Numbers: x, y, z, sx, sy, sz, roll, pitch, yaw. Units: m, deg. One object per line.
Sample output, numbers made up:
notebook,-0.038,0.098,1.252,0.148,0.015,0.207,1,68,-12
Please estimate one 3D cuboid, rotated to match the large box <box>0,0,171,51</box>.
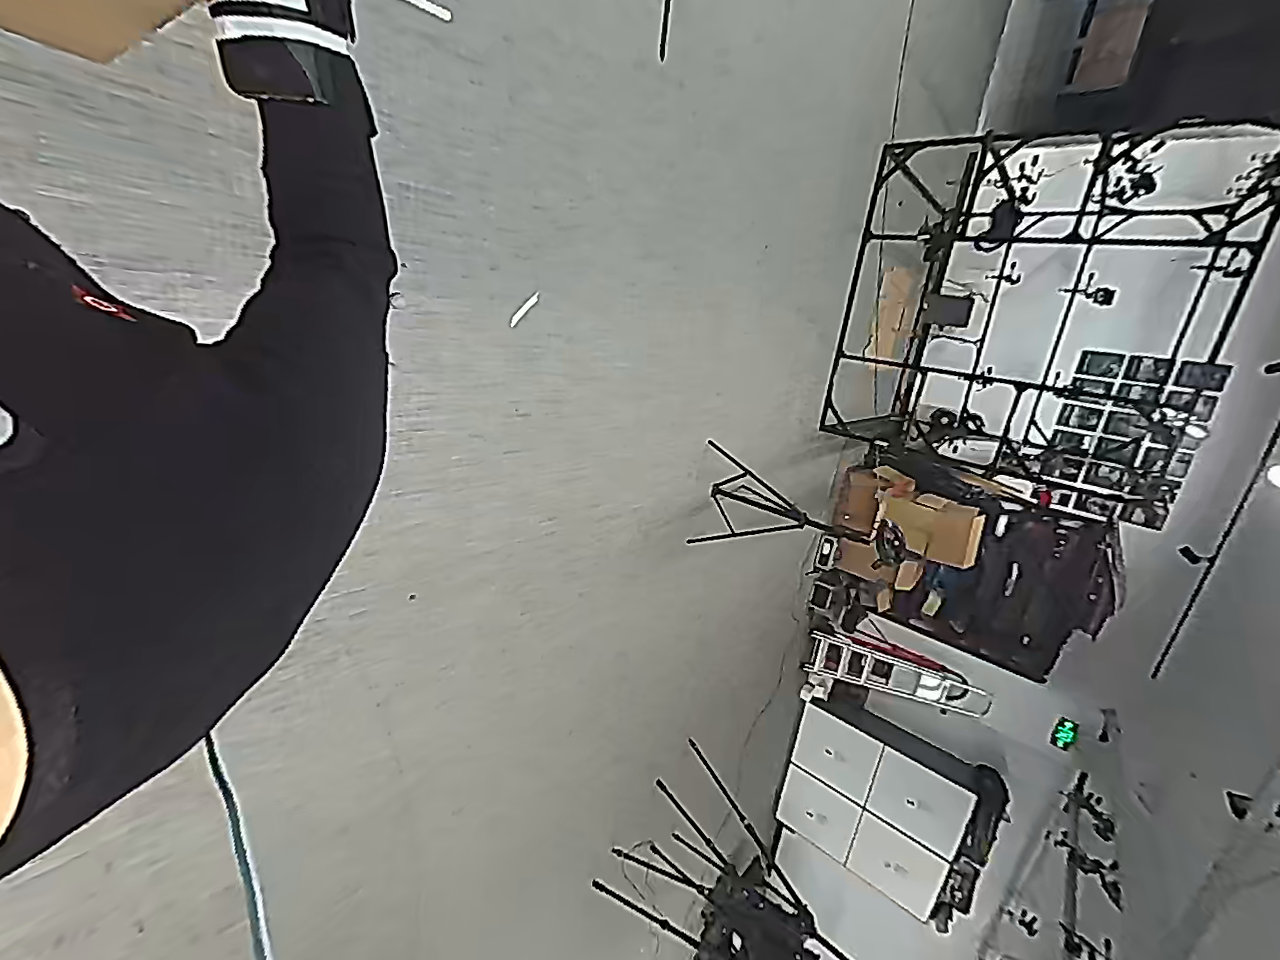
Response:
large box,-0.470,-0.458,0.211,0.408,0.320,0.320,-10,117,-51
